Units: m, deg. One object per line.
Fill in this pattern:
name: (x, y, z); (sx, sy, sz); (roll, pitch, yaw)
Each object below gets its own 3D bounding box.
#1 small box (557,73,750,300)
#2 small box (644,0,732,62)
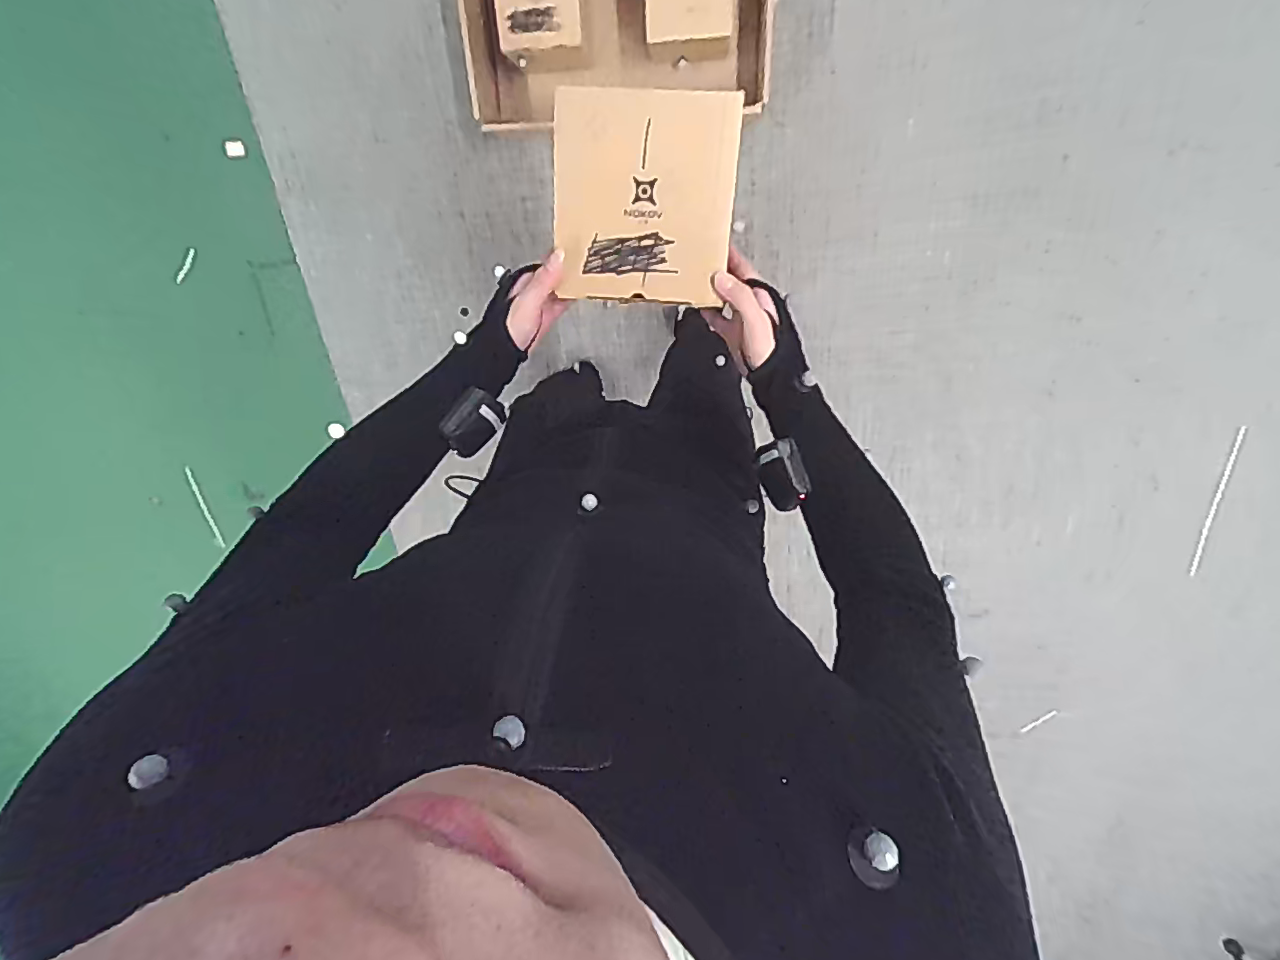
small box: (0.013, -0.284, 0.557); (0.168, 0.176, 0.179); (4, 109, 3)
small box: (0.096, -0.957, 1.063); (0.168, 0.176, 0.179); (1, 115, 6)
